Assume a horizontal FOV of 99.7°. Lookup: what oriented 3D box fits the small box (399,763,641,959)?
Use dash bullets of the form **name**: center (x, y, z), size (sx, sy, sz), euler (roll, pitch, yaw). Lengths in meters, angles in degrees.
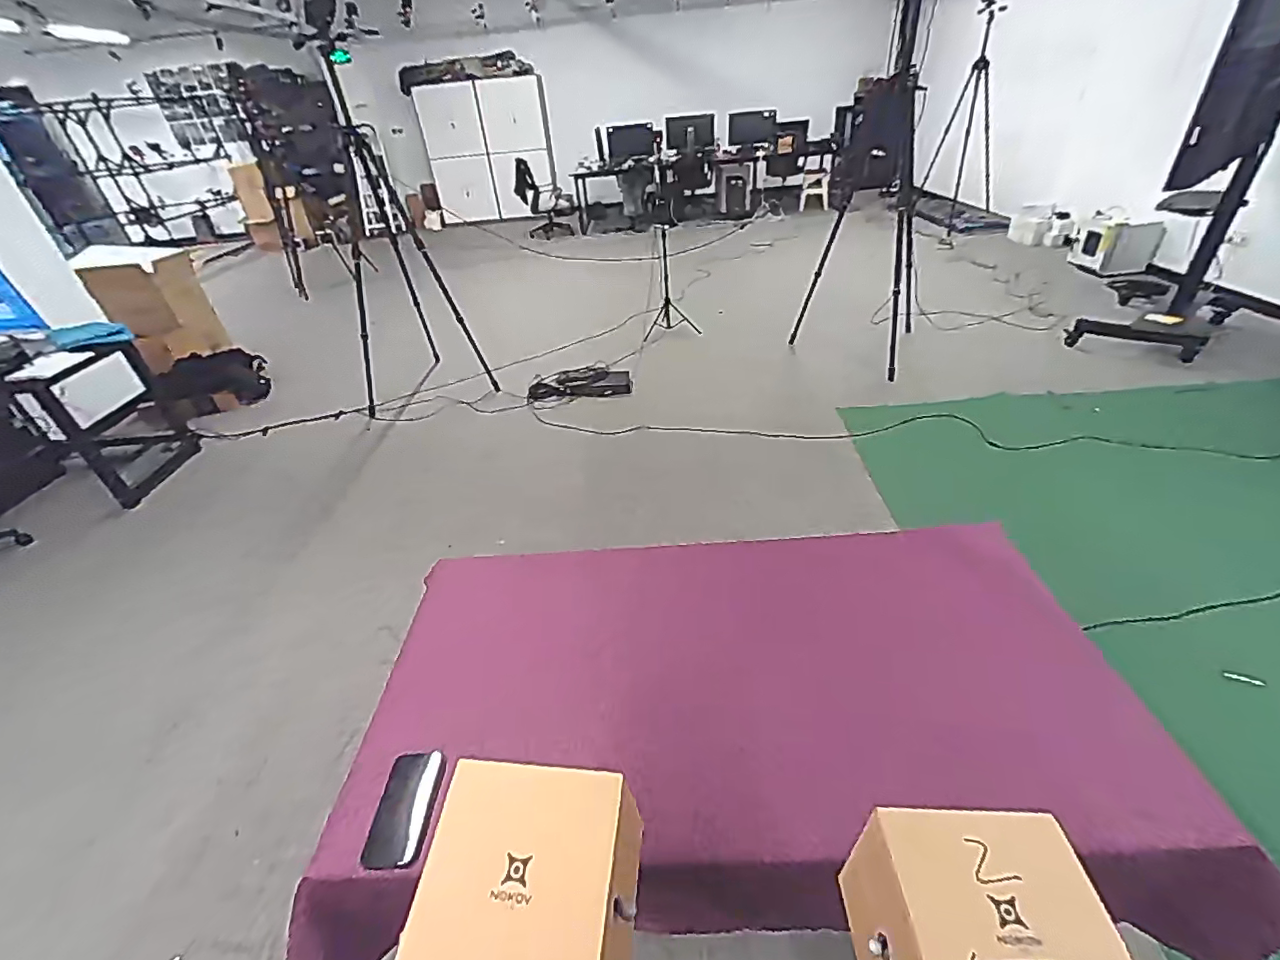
- **small box**: center (-0.093, 0.392, 0.506), size (0.168, 0.176, 0.179), euler (1, 47, 9)
